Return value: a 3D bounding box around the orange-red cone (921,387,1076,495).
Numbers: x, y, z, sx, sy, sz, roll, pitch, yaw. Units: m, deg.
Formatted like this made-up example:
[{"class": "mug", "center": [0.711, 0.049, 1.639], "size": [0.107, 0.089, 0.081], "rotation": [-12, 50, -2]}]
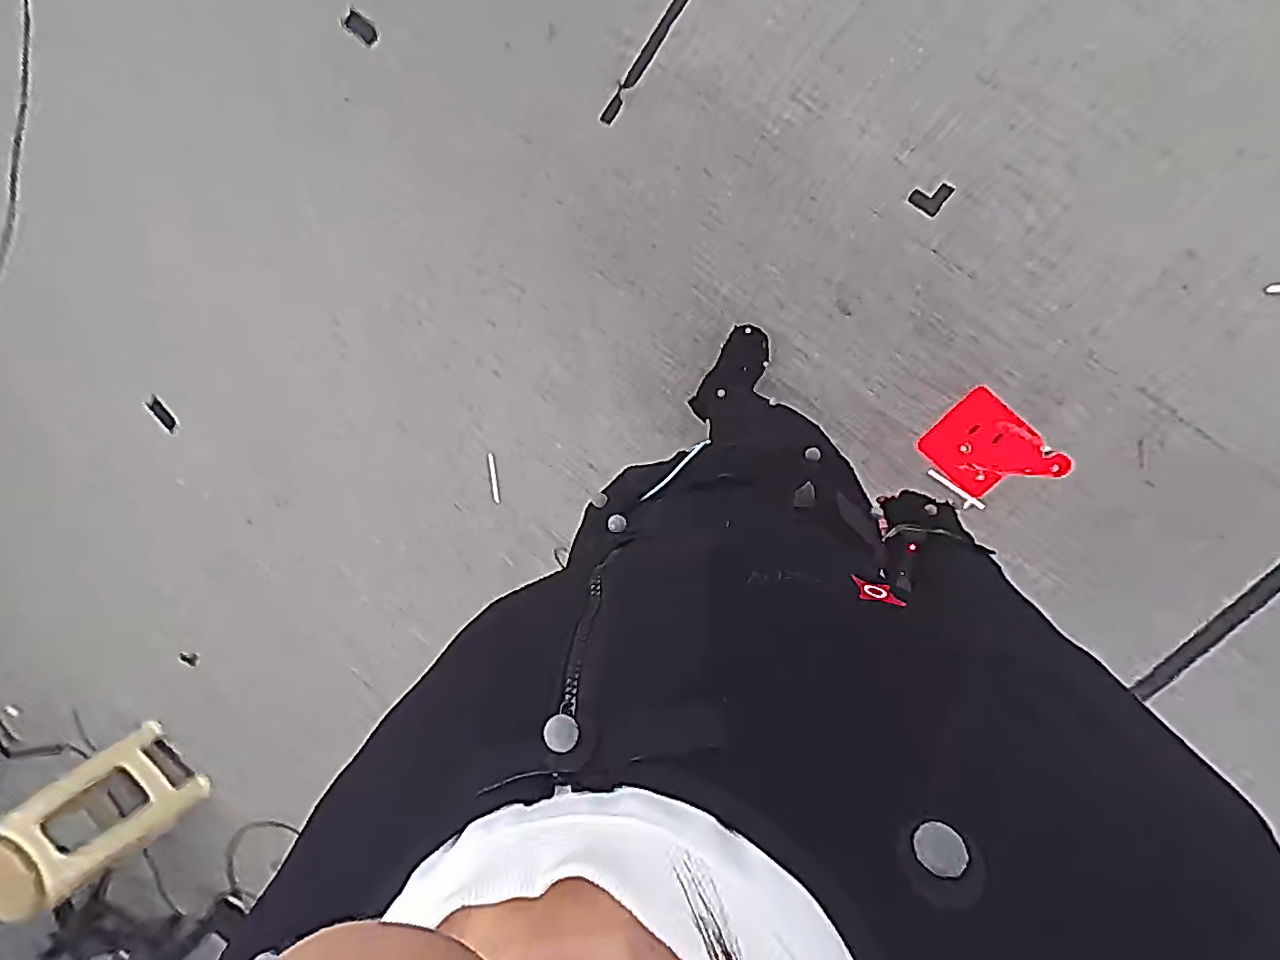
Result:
[{"class": "orange-red cone", "center": [0.753, -0.060, 1.085], "size": [0.198, 0.360, 0.199], "rotation": [44, 104, 1]}]
